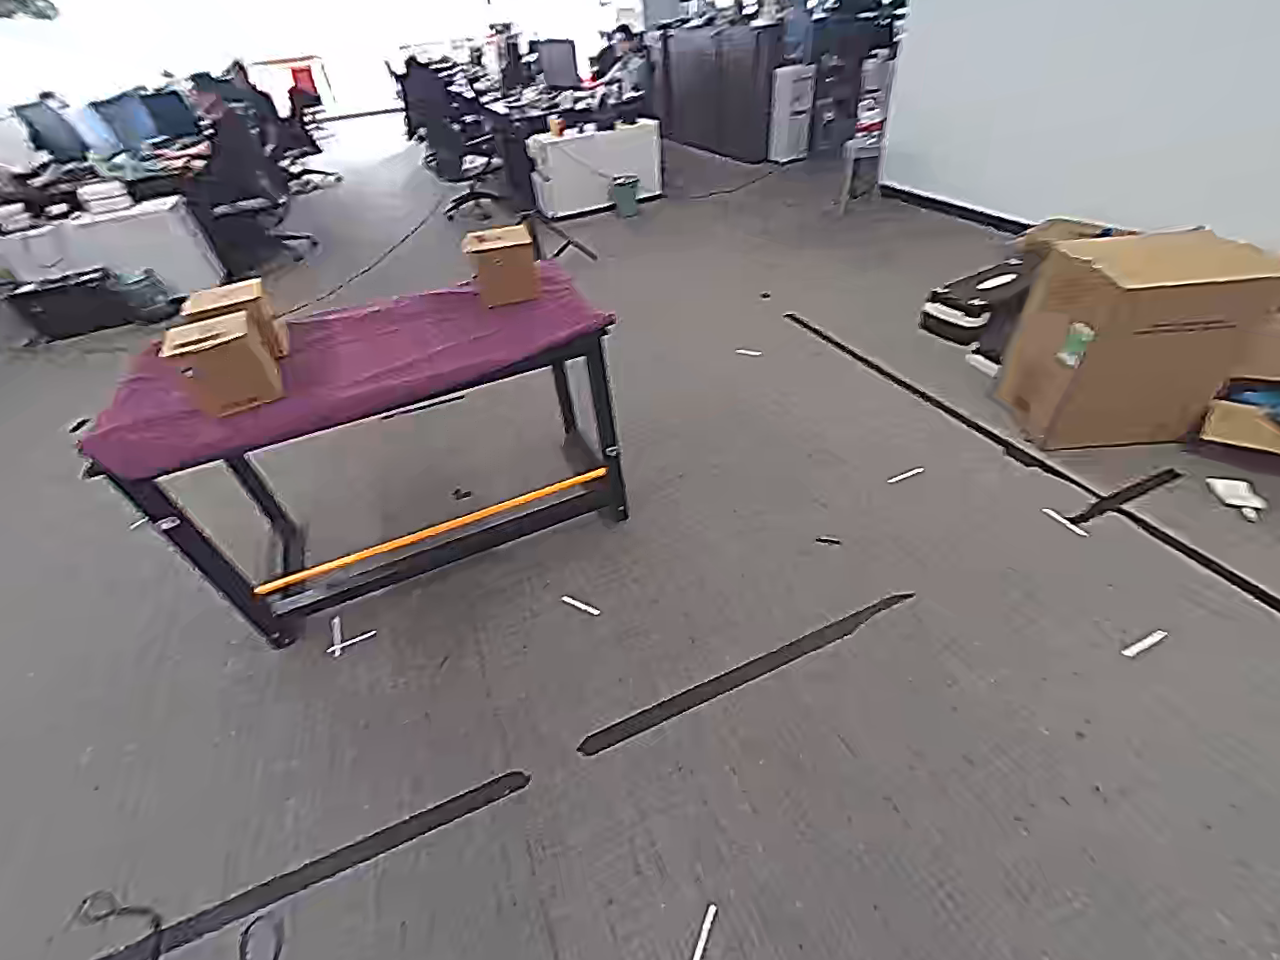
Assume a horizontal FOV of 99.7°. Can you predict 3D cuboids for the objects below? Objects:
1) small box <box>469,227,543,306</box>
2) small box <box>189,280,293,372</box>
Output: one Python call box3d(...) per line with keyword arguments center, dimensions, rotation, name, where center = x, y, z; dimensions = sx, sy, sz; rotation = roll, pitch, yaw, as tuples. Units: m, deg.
box3d(center=(-0.405, -0.647, 1.645), dimensions=(0.179, 0.176, 0.168), rotation=(-14, 44, -11), name="small box")
box3d(center=(-1.077, -0.421, 1.476), dimensions=(0.179, 0.176, 0.168), rotation=(-22, 44, -17), name="small box")
